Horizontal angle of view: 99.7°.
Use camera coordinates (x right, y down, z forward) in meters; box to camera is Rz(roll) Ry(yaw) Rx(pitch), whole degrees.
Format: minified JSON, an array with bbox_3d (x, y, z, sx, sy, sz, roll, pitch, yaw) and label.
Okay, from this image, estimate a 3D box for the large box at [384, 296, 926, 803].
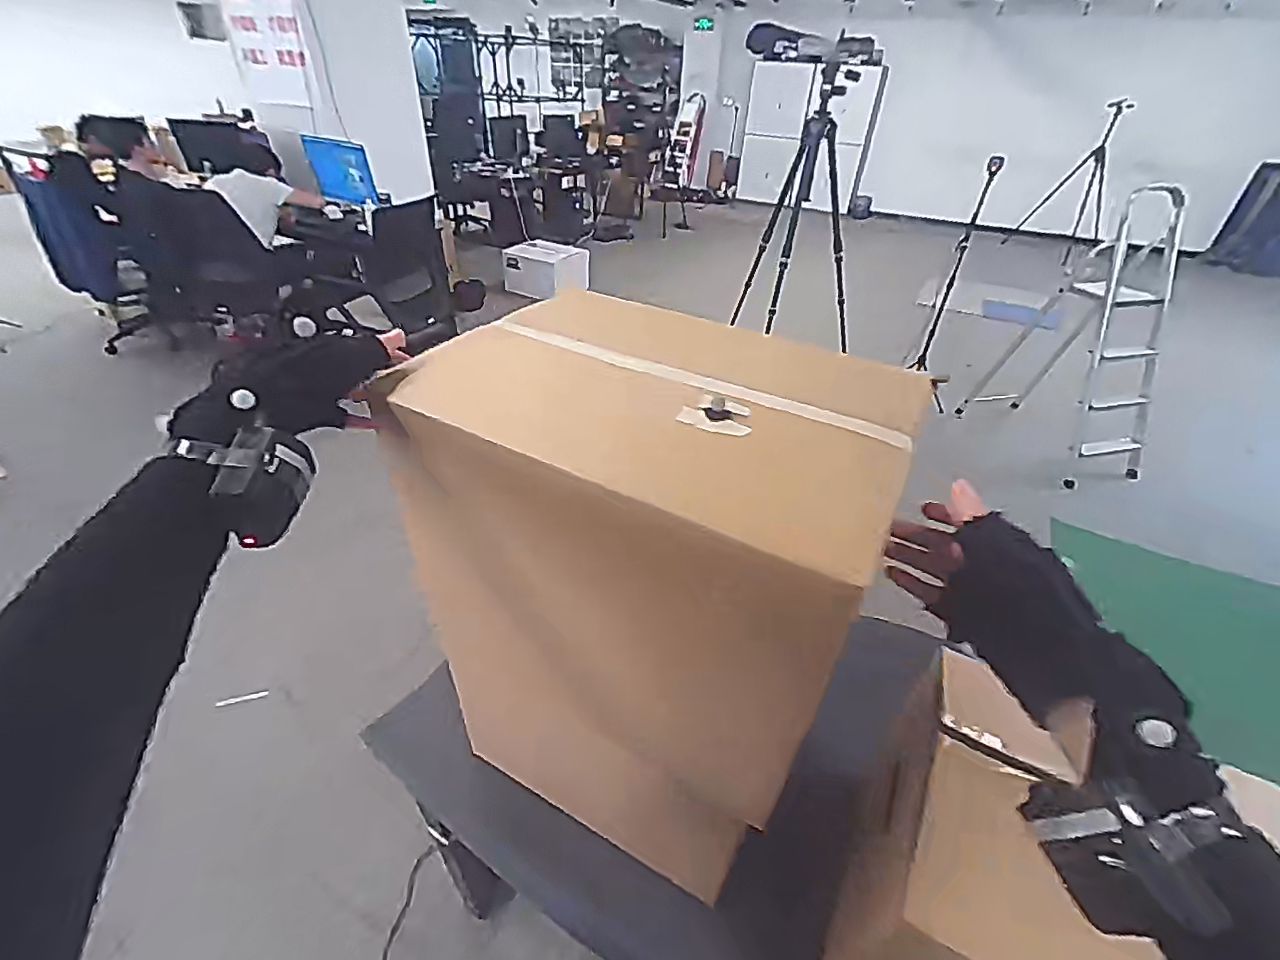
[{"bbox_3d":[0.019,0.036,0.572,0.408,0.320,0.320,22,41,21],"label":"large box"}]
